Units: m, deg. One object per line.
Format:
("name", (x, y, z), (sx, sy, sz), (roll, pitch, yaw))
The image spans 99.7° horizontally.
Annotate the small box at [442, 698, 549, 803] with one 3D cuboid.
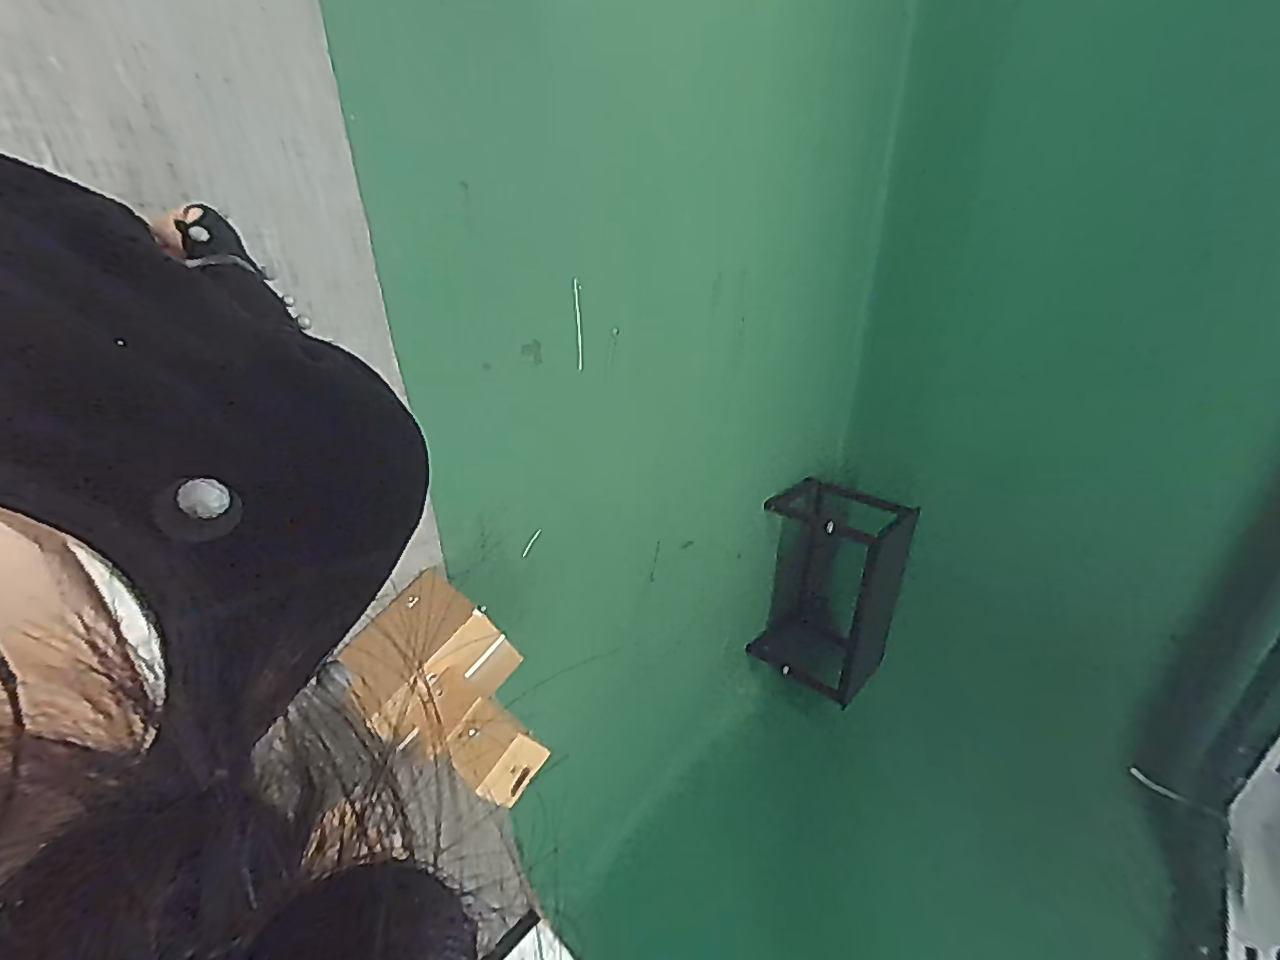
("small box", (-0.382, 0.711, 1.431), (0.168, 0.176, 0.179), (-51, 139, -21))
